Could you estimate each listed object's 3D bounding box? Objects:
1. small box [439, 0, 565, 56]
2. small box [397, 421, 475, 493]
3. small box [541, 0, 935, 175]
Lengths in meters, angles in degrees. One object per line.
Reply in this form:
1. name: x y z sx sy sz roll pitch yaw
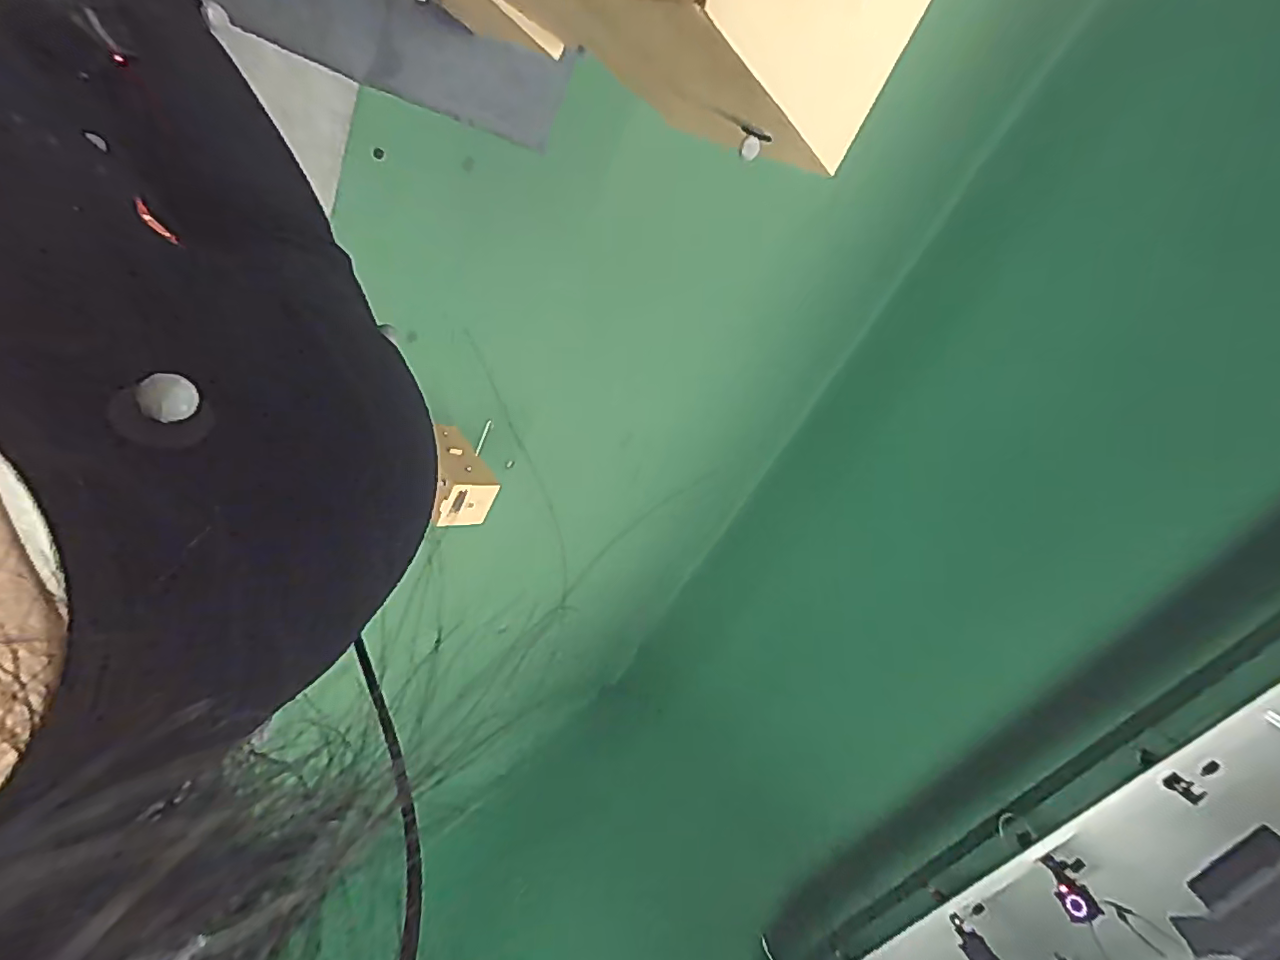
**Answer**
1. small box: -0.137 -0.524 0.464 0.168 0.176 0.179 5 123 -53
2. small box: -0.696 -0.076 1.826 0.168 0.176 0.179 2 126 -52
3. small box: 0.061 -0.315 0.307 0.179 0.176 0.168 1 124 -51
